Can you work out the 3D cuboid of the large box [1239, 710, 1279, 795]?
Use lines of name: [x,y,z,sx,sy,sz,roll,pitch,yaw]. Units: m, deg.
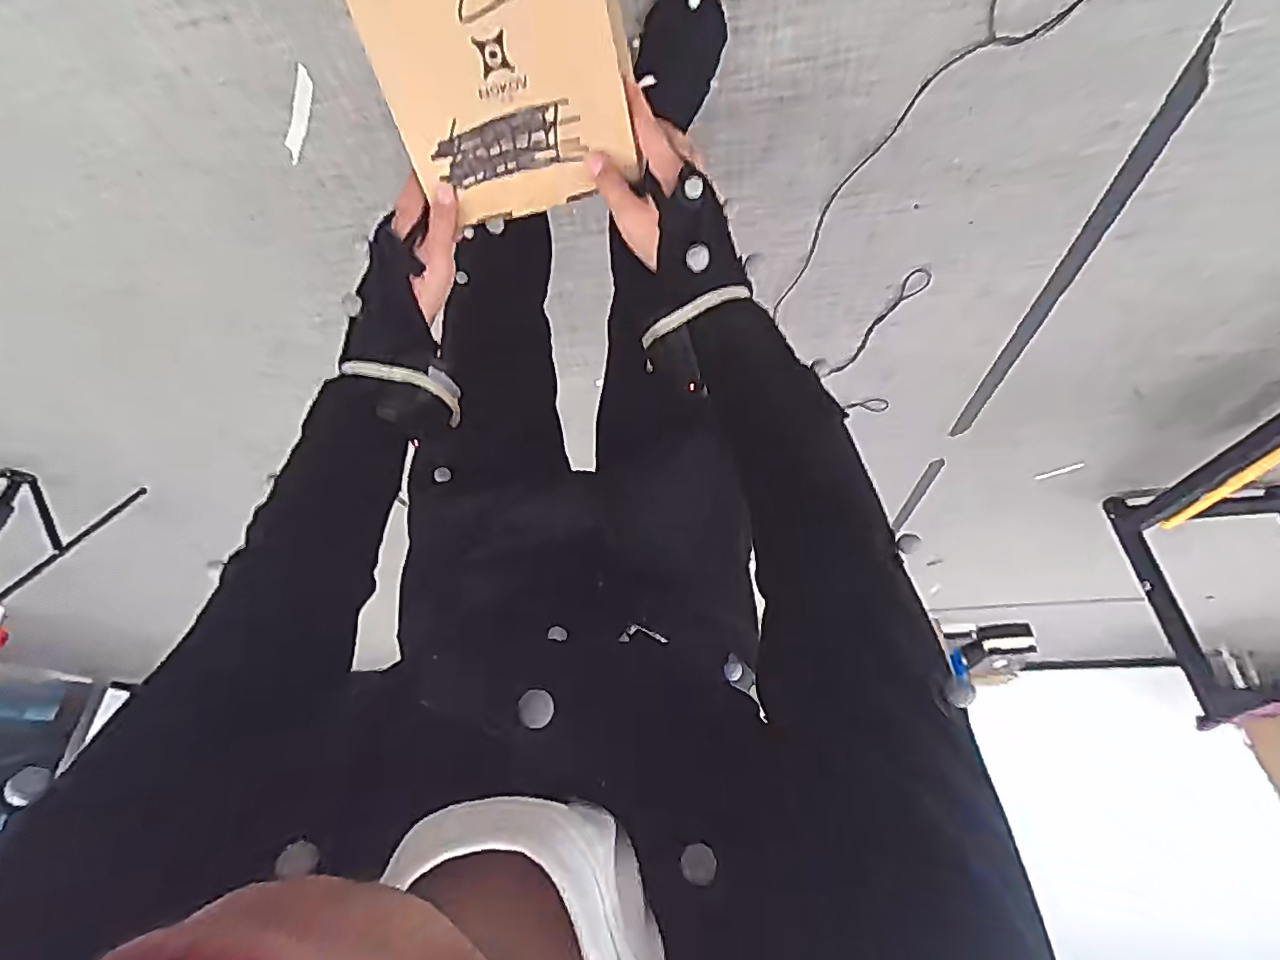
large box: [1.900,0.720,1.338,0.408,0.320,0.320,-7,151,7]
